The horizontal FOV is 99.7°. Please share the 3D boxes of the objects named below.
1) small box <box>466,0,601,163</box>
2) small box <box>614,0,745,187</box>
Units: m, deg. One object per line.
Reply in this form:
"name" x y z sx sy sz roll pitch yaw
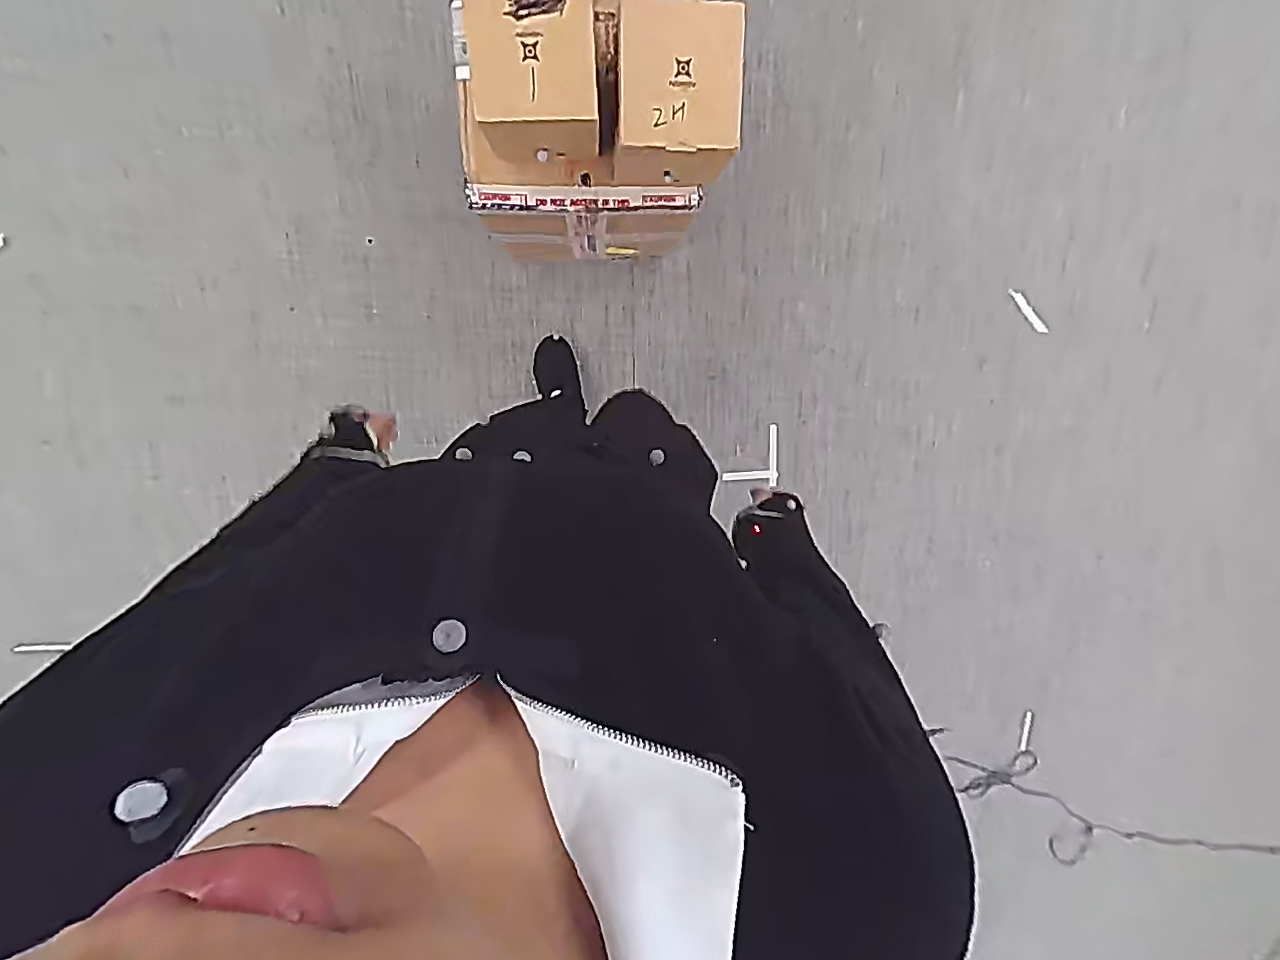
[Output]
"small box" -0.143 -0.577 0.774 0.168 0.176 0.179 -3 106 -2
"small box" 0.049 -0.553 0.796 0.168 0.176 0.179 -2 105 -5
